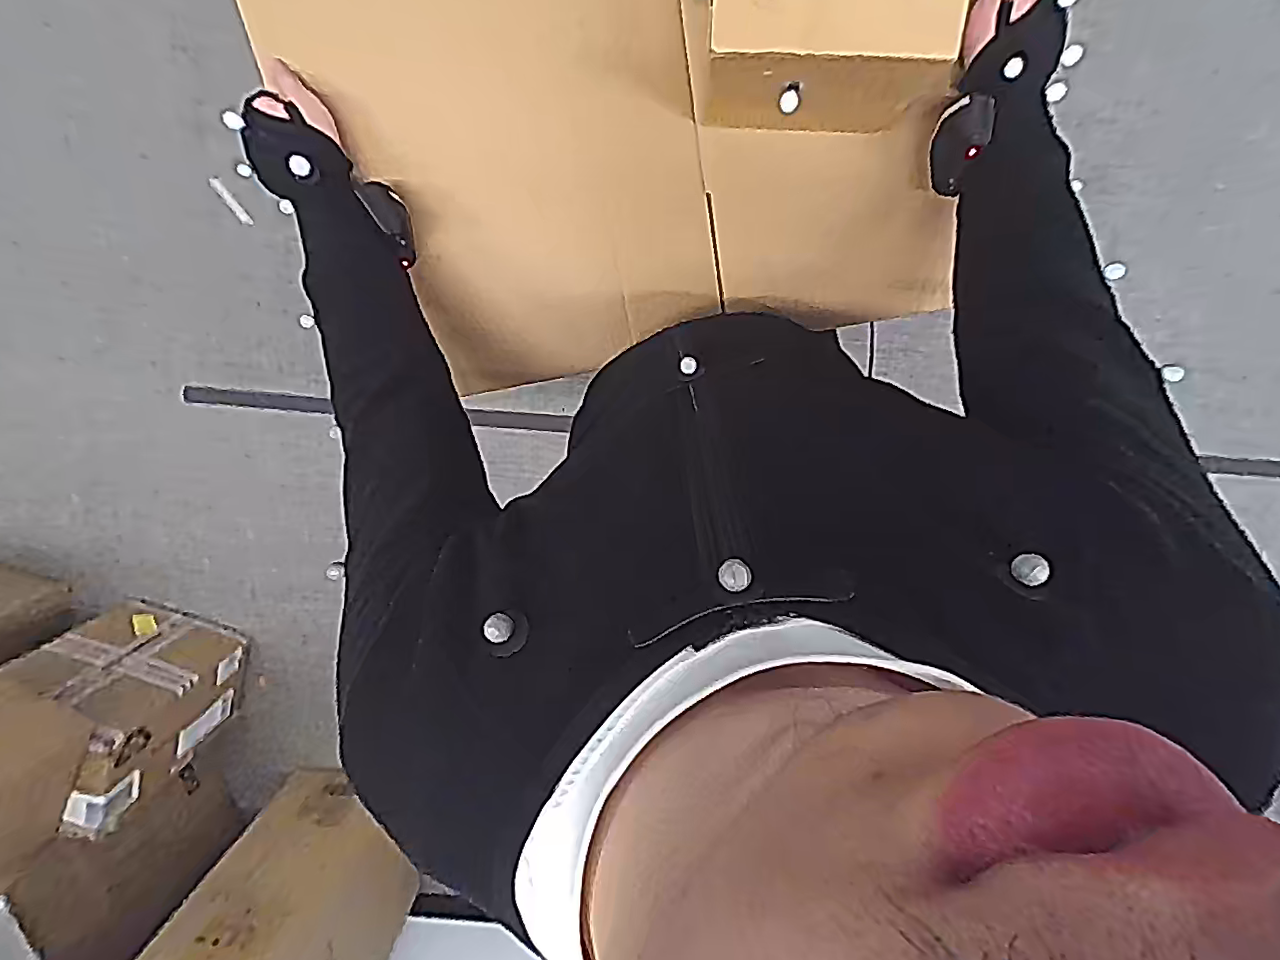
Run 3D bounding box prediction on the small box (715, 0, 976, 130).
[{"bbox_3d":[0.156,-0.404,0.439,0.179,0.176,0.168,5,108,4],"label":"small box"}]
